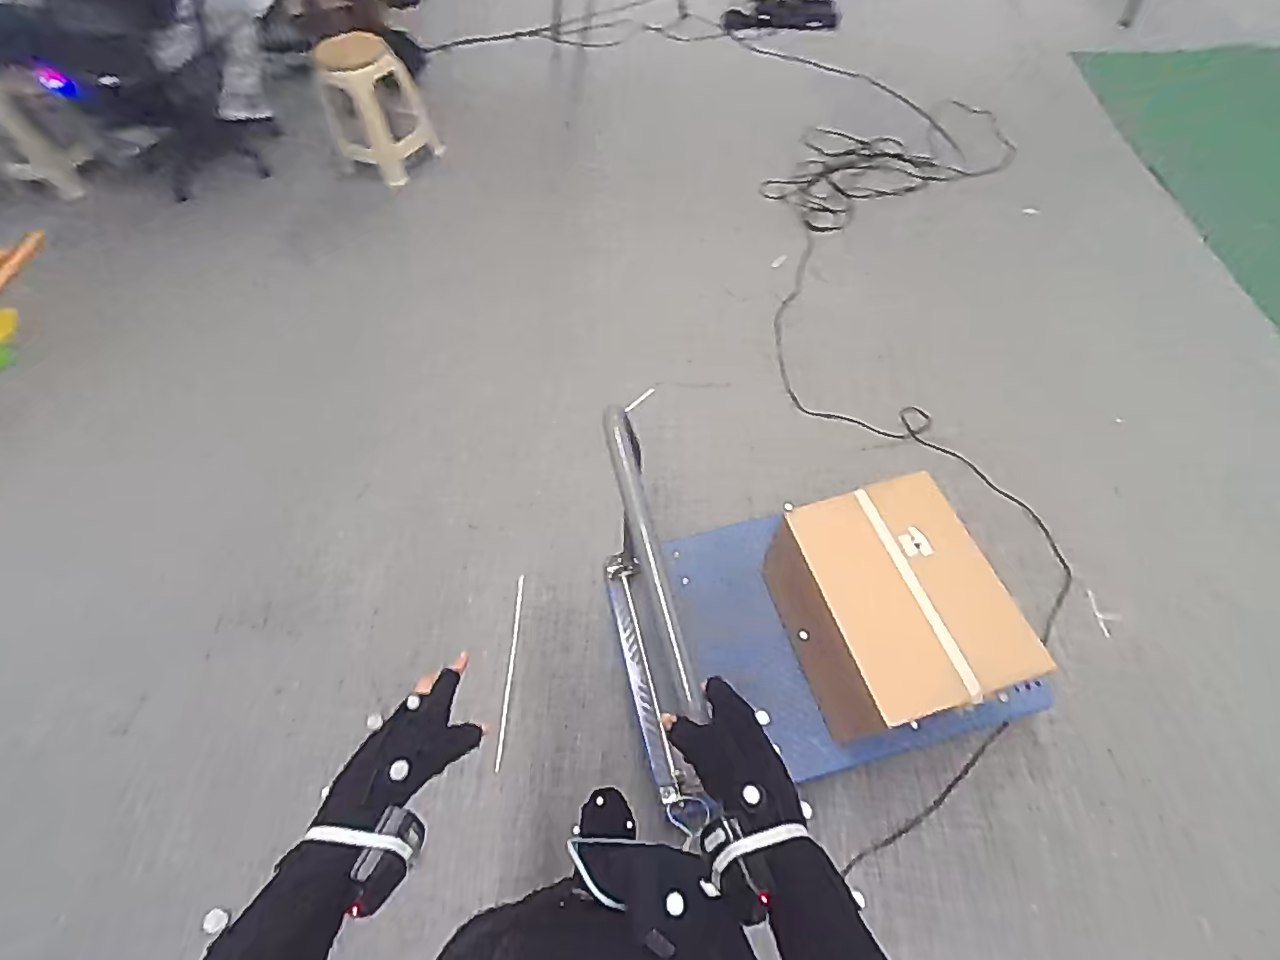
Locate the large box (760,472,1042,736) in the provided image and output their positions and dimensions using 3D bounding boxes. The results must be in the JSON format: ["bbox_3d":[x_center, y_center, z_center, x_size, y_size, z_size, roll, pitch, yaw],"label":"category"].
[{"bbox_3d":[0.483,0.259,1.114,0.320,0.320,0.408,-15,60,-7],"label":"large box"}]
